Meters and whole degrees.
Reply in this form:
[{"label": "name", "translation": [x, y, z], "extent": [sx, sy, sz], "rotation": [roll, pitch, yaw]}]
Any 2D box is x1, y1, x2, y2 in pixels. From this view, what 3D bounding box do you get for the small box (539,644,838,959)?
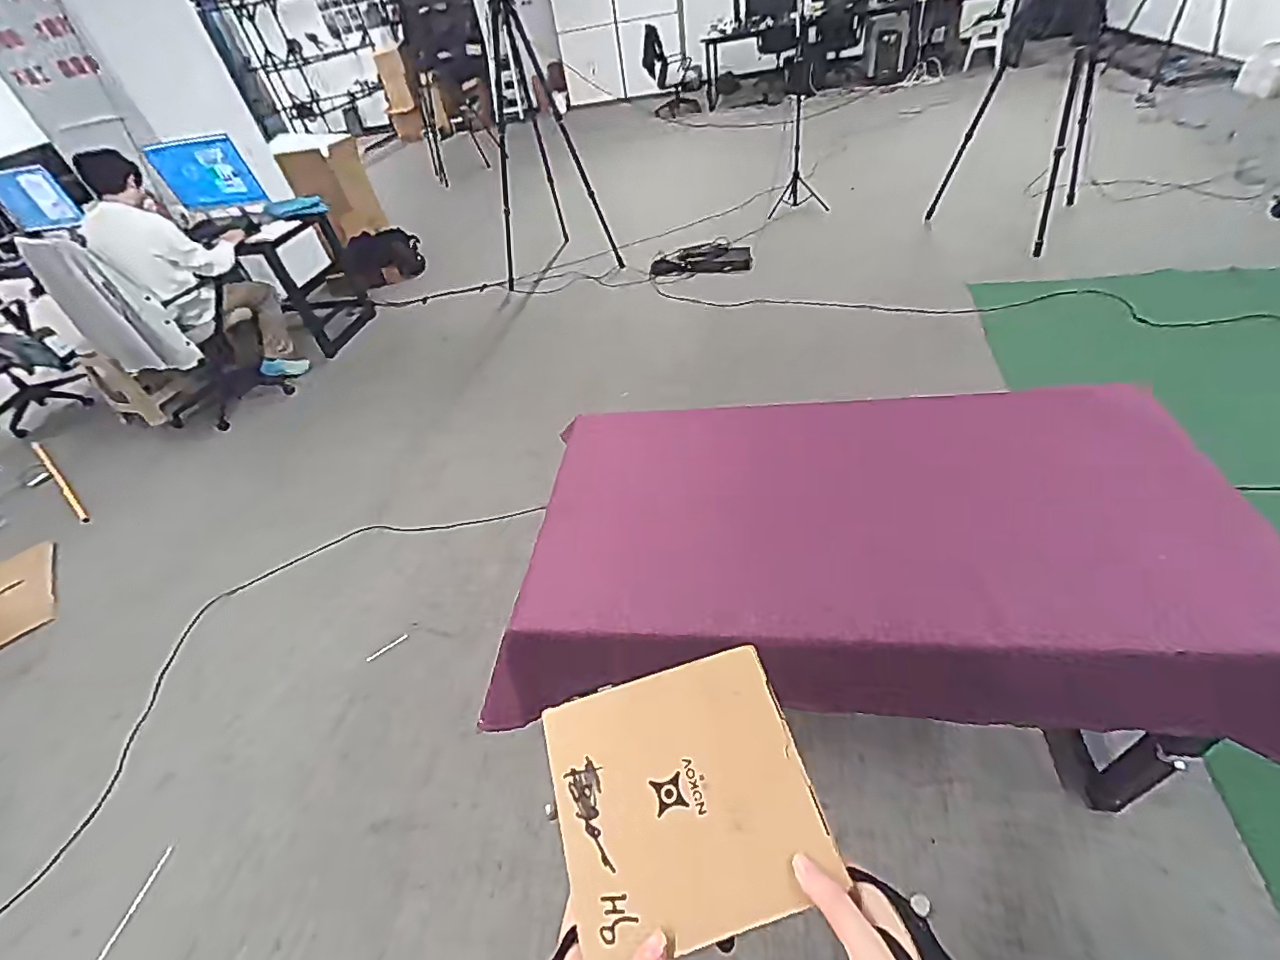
[{"label": "small box", "translation": [0.031, 0.261, 0.444], "extent": [0.179, 0.176, 0.168], "rotation": [-16, 53, -4]}]
